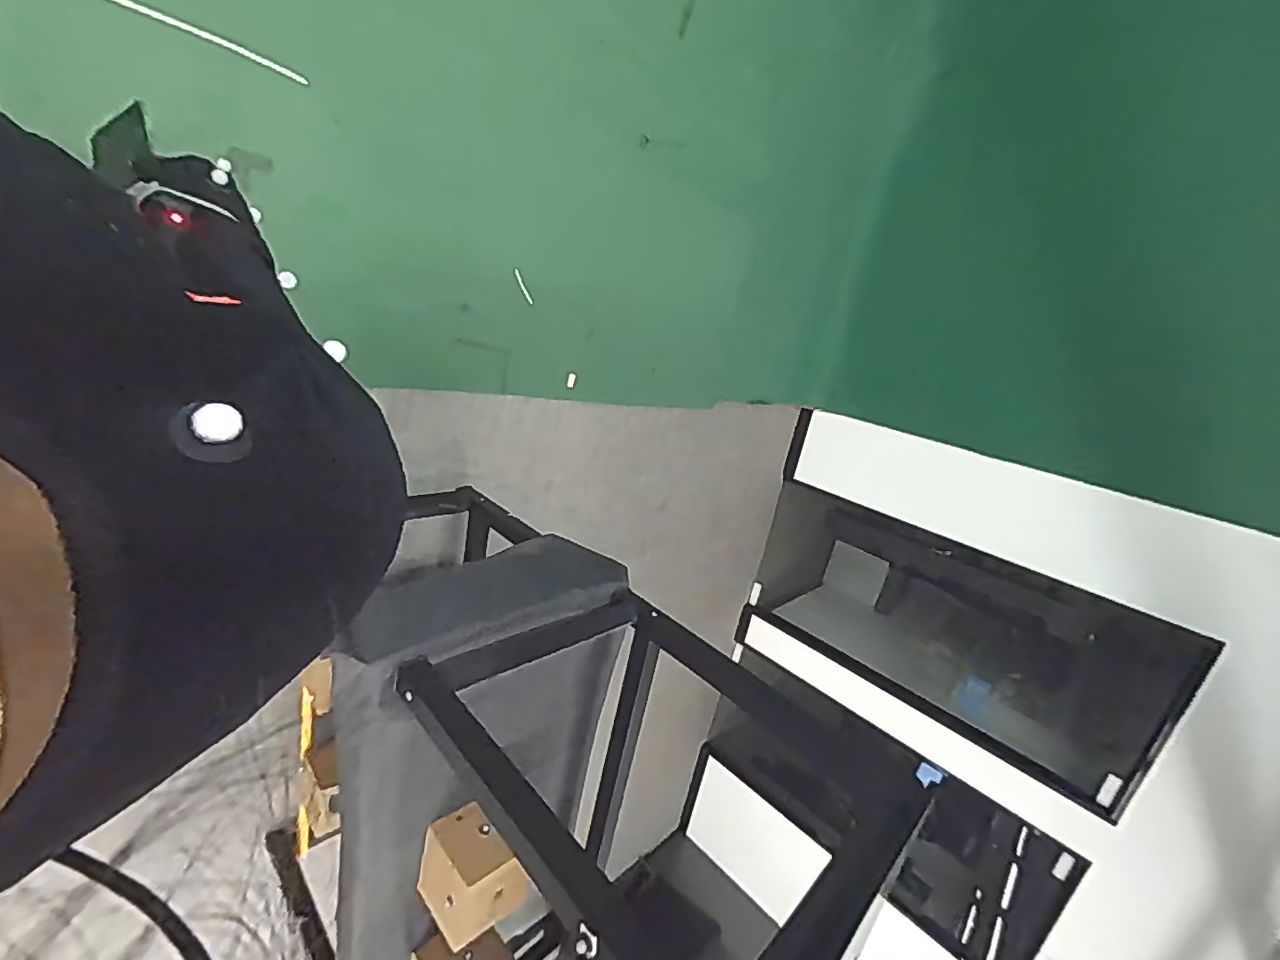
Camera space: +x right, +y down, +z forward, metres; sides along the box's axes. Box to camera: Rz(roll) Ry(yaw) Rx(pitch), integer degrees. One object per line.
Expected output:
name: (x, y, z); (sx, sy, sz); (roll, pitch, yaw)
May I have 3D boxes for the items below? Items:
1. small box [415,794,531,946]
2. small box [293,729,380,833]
small box: (-0.362, 0.816, 1.159); (0.168, 0.176, 0.179); (-3, 112, -49)
small box: (-0.897, 0.875, 1.588); (0.179, 0.176, 0.168); (-2, 112, -49)
